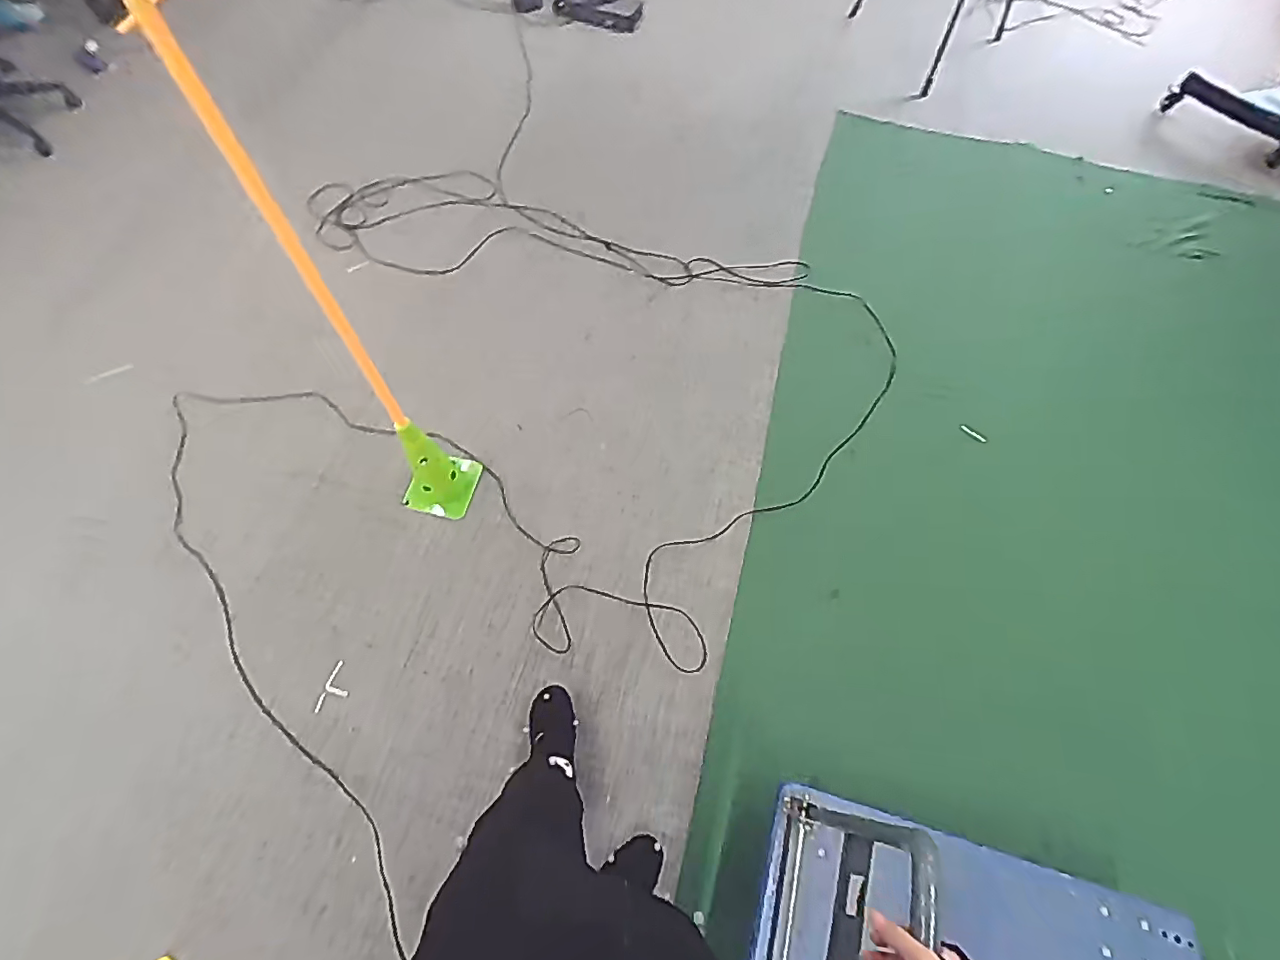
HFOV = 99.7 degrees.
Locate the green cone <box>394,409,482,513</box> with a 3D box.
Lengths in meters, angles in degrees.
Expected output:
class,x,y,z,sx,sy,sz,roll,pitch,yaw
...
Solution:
class,x,y,z,sx,sy,sz,roll,pitch,yaw
green cone,-0.611,-0.077,1.536,0.200,0.368,0.202,11,62,4
